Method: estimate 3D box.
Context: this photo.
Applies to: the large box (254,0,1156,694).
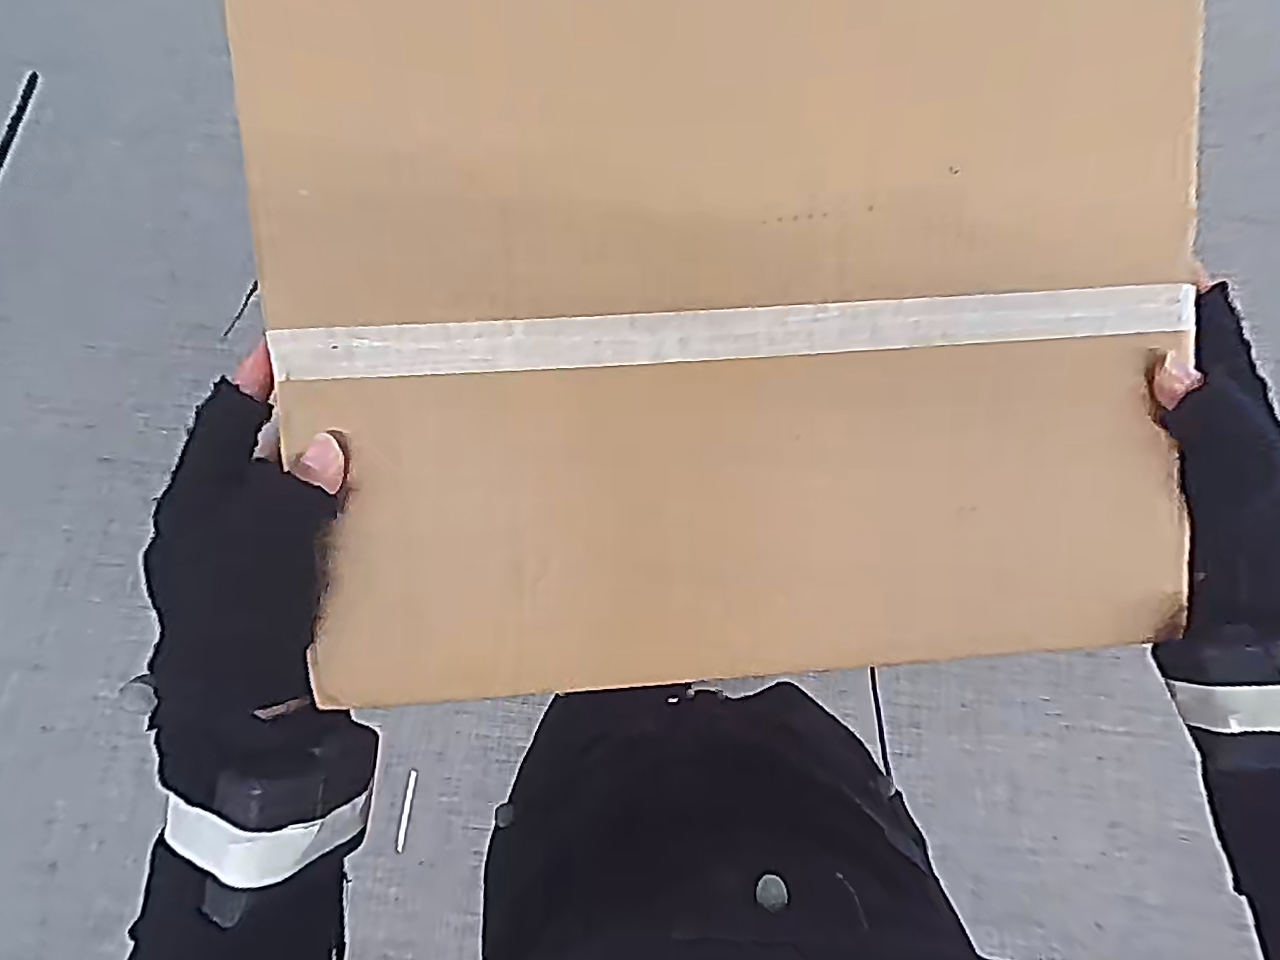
[{"bbox_3d":[0.037,-0.080,0.397,0.408,0.320,0.320,-4,95,-3],"label":"large box"}]
